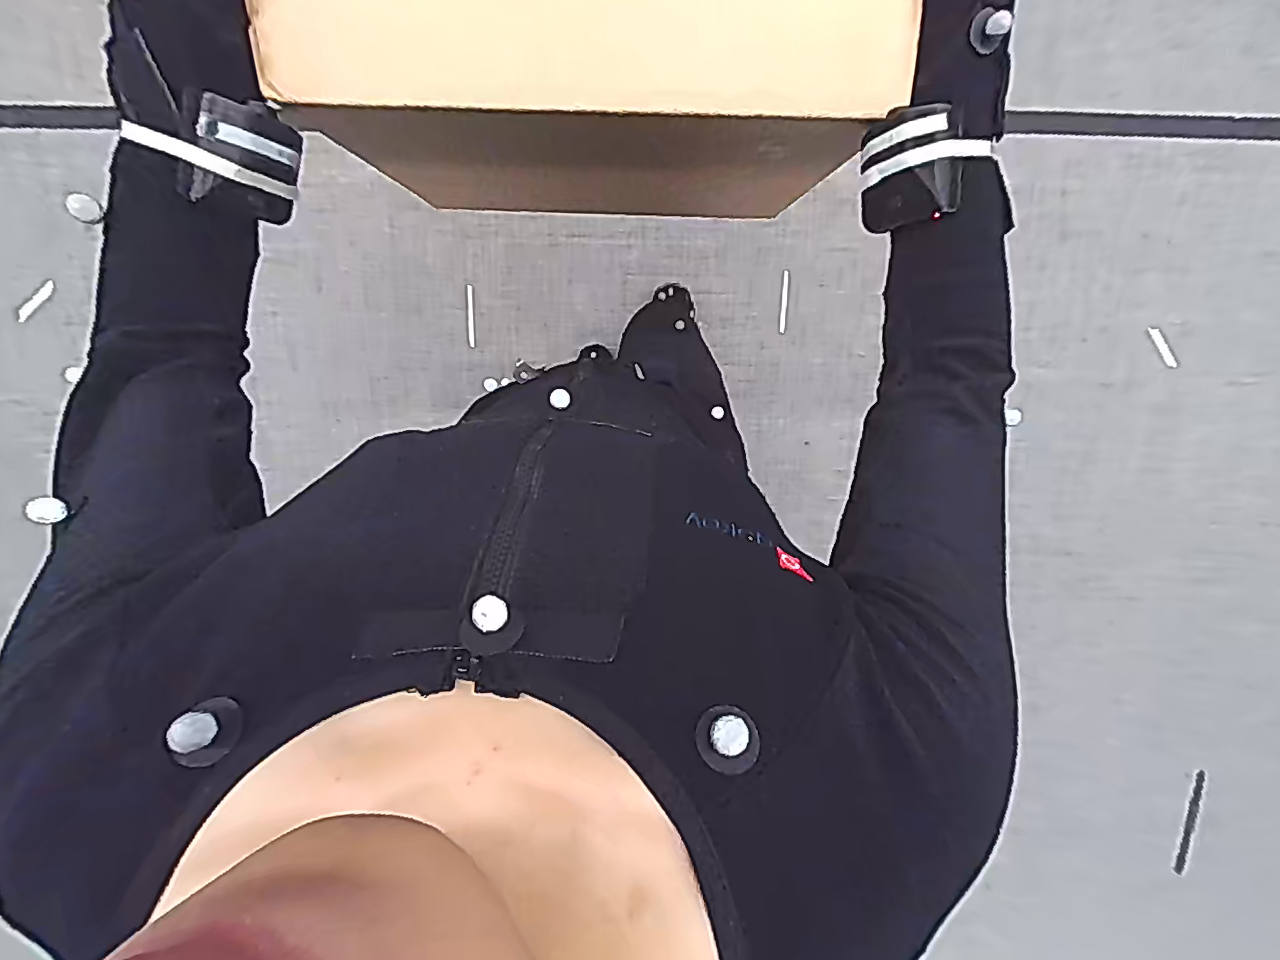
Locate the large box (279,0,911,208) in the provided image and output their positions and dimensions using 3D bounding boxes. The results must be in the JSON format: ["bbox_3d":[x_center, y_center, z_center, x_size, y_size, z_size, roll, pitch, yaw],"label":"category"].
[{"bbox_3d":[-0.031,-0.434,0.458,0.408,0.320,0.320,0,105,-2],"label":"large box"}]
